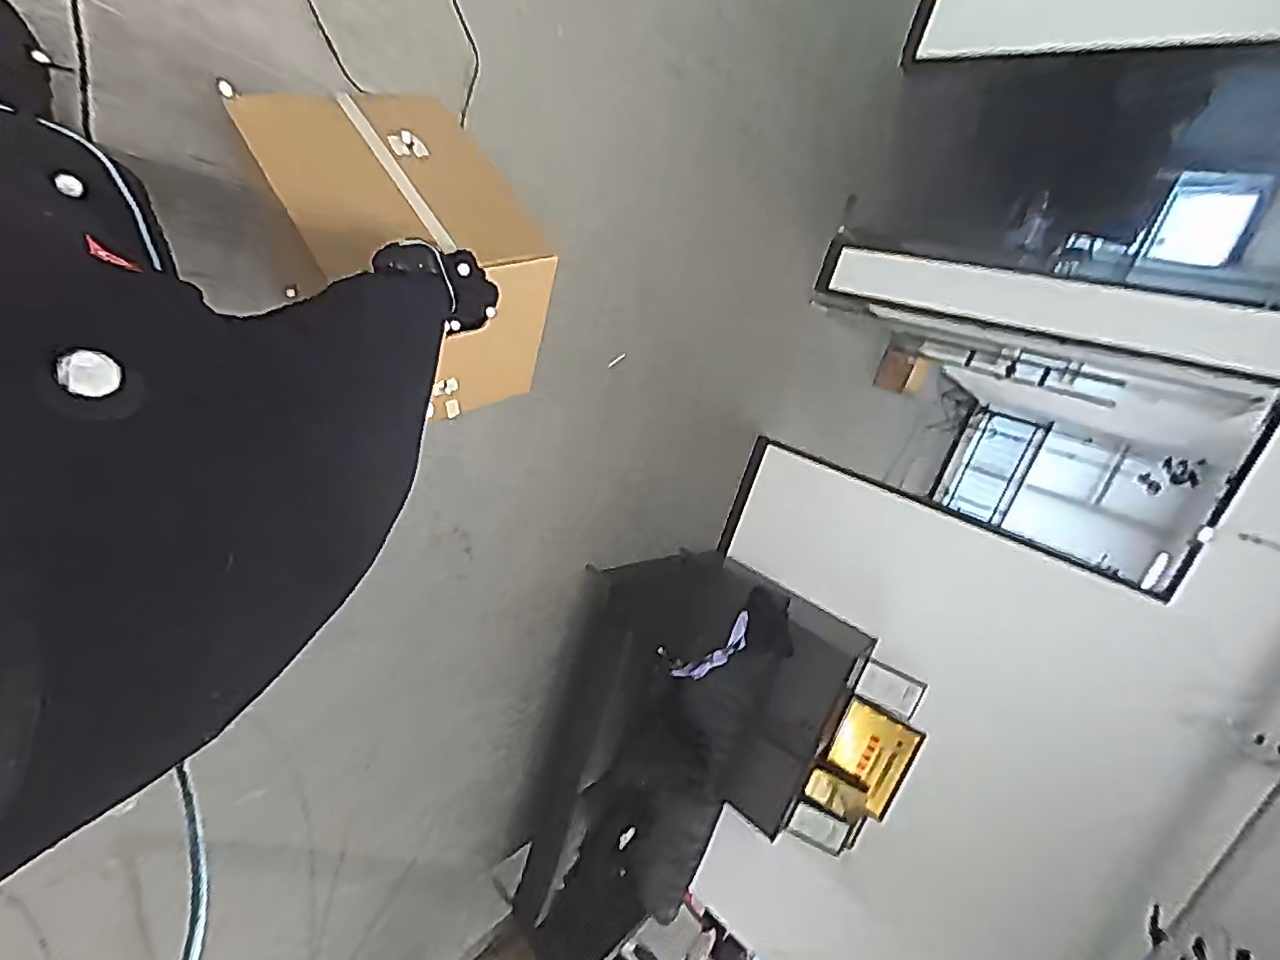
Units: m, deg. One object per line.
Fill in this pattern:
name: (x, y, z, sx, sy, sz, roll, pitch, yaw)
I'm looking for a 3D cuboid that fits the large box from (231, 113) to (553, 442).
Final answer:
large box: (-0.399, -0.339, 0.910, 0.320, 0.408, 0.320, -24, 159, -33)
